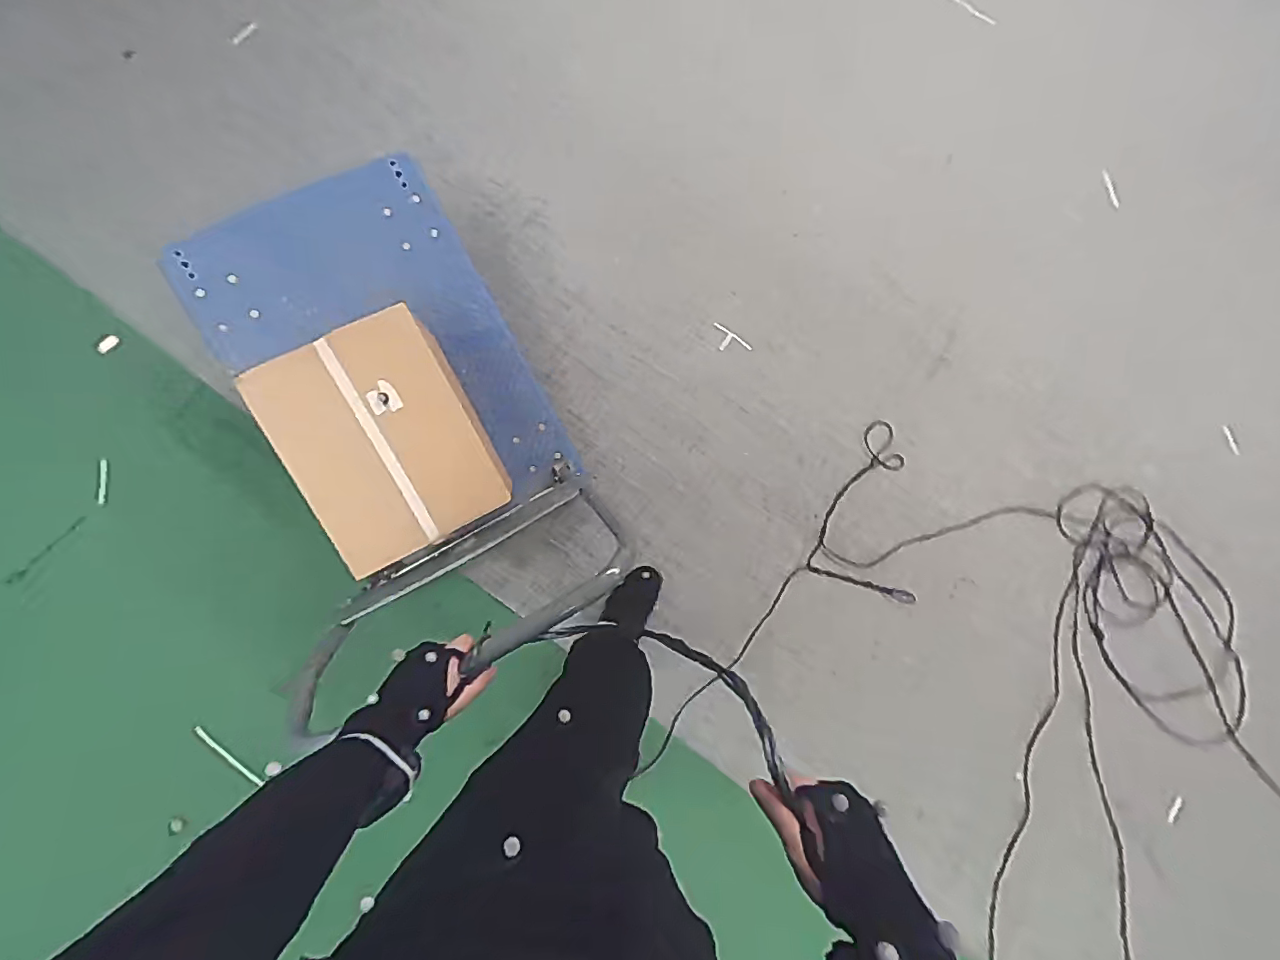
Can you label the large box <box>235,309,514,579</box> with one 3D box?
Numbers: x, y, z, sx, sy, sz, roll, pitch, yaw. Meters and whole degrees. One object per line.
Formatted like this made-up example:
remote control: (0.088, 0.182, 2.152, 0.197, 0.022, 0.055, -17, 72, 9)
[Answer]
large box: (-0.493, -0.072, 1.111, 0.320, 0.320, 0.408, -29, 99, -10)
